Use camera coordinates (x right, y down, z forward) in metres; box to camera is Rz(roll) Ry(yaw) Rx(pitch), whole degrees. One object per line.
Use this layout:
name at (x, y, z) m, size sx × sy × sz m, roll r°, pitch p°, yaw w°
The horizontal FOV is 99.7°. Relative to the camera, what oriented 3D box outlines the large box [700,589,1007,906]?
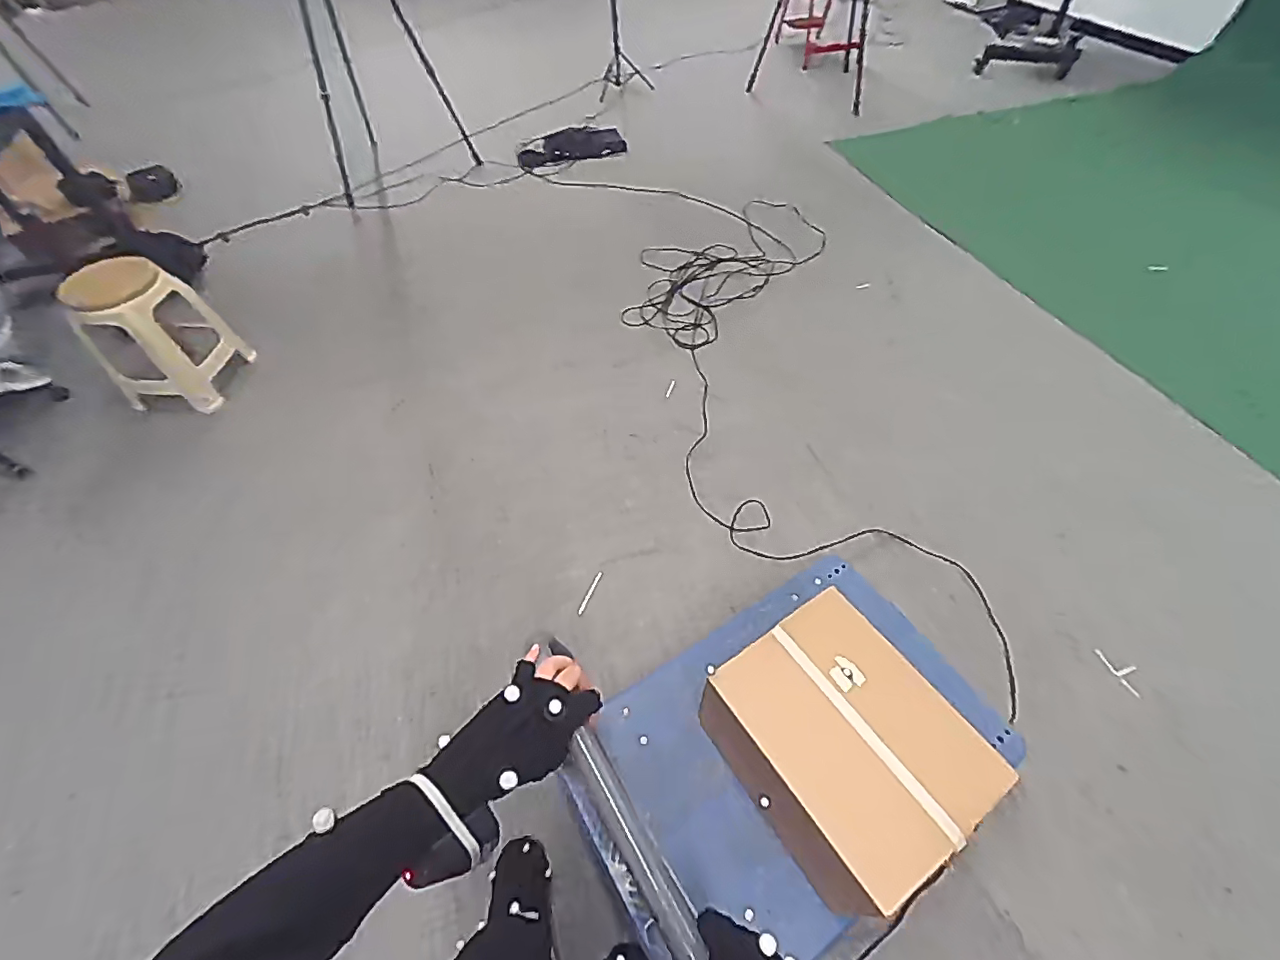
large box at (0.358, 0.498, 1.030) m, size 0.320 × 0.320 × 0.408 m, roll -29°, pitch 56°, yaw -19°
